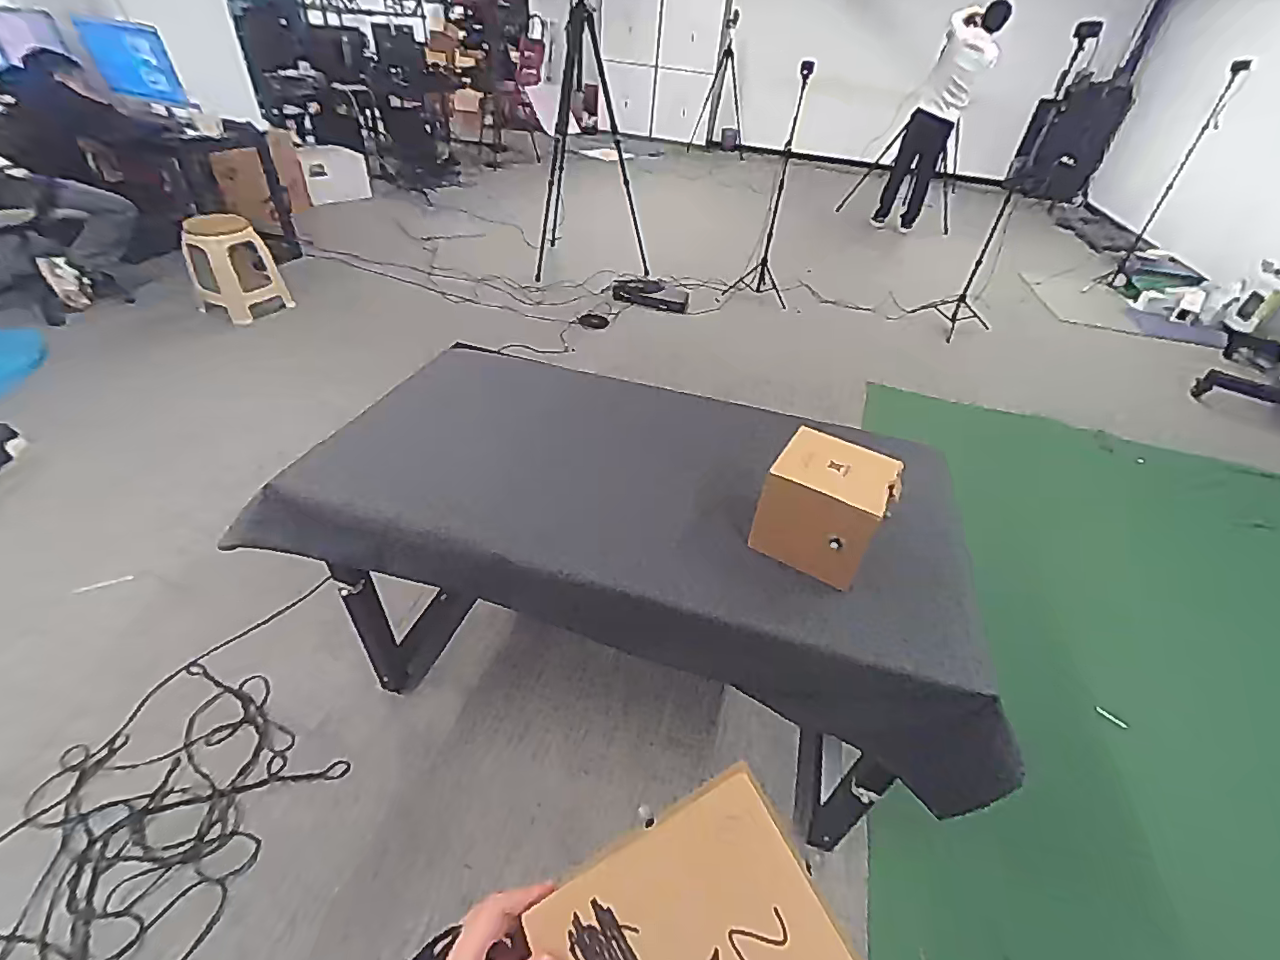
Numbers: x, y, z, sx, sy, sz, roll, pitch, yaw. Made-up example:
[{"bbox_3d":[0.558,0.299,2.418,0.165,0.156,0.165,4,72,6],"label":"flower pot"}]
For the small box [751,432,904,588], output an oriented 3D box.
[{"bbox_3d":[0.307,0.052,0.900,0.179,0.176,0.168,23,41,22],"label":"small box"}]
